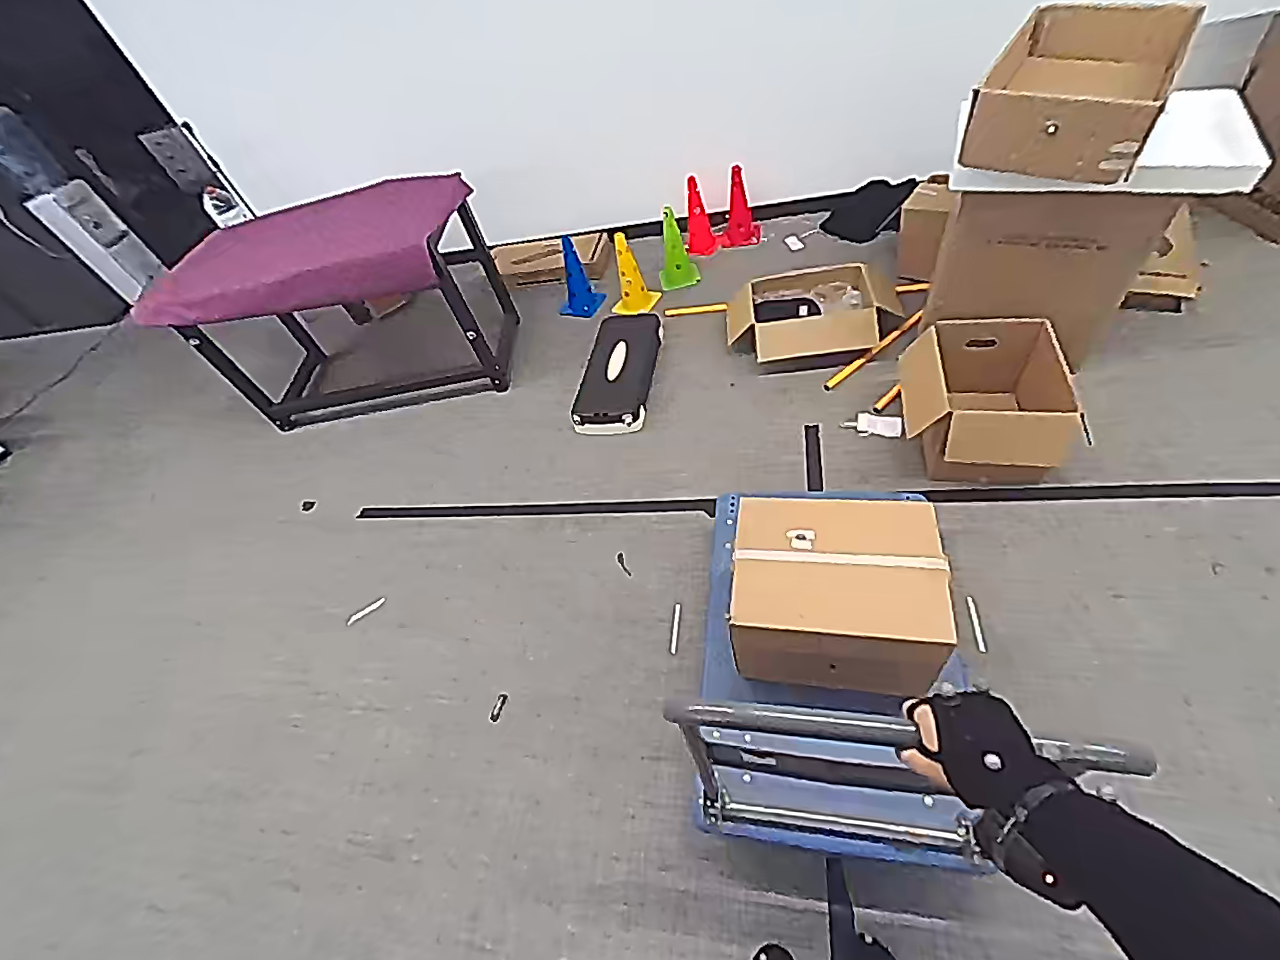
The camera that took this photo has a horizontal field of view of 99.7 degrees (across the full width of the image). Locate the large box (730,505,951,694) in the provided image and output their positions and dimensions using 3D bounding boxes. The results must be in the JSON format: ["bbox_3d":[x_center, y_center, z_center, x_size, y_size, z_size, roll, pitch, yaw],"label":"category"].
[{"bbox_3d":[0.429,0.269,1.225,0.408,0.320,0.320,0,51,16],"label":"large box"}]
